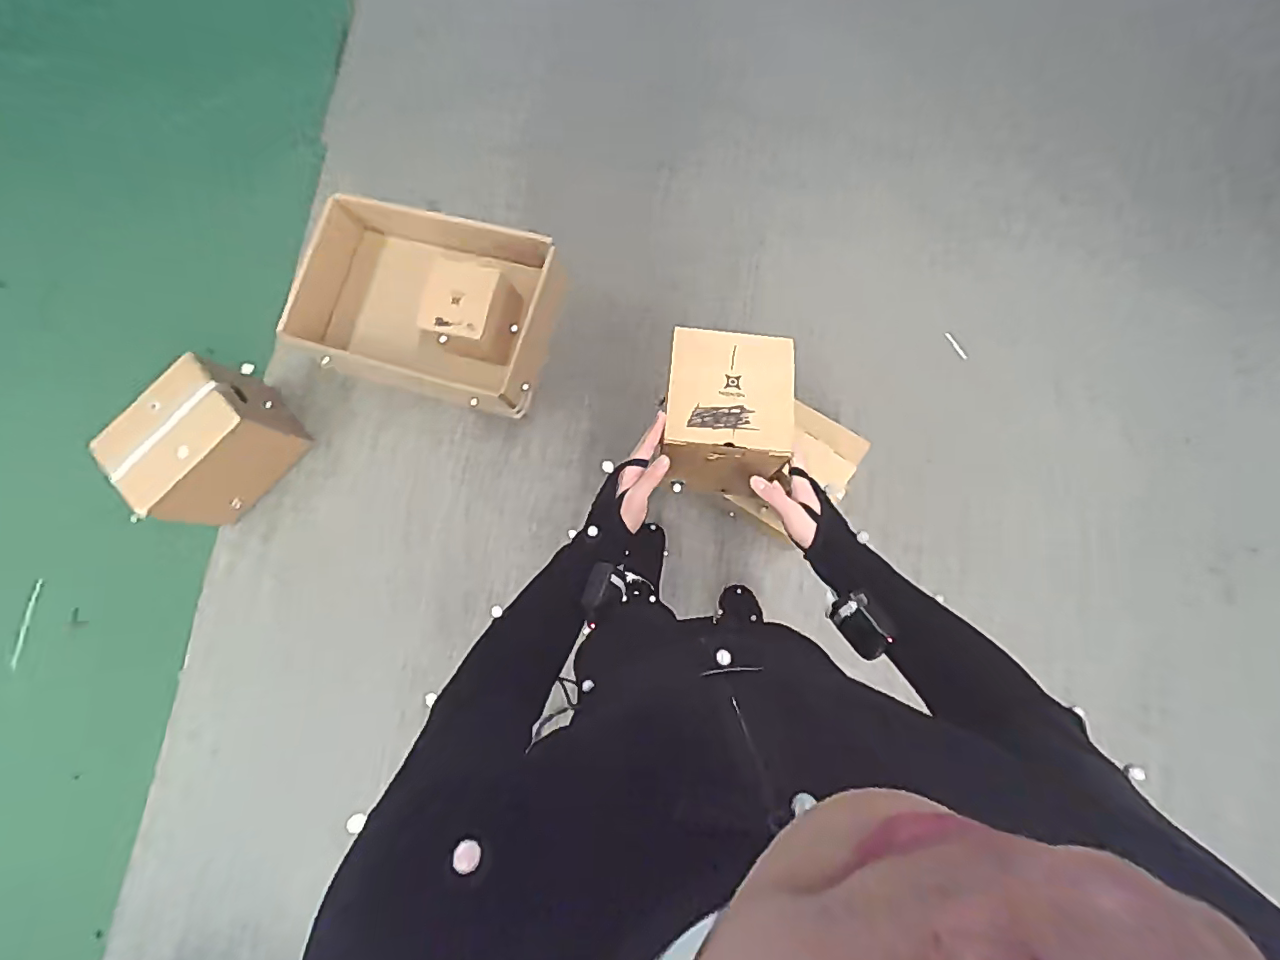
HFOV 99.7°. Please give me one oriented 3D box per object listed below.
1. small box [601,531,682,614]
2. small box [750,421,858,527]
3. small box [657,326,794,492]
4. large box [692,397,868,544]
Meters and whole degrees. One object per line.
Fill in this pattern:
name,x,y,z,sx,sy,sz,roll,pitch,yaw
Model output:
small box,0.010,0.273,1.597,0.168,0.176,0.179,39,86,12
small box,0.365,-0.007,1.253,0.168,0.176,0.179,39,90,11
small box,0.115,-0.092,0.774,0.168,0.176,0.179,6,69,0
large box,0.346,-0.052,1.512,0.408,0.320,0.320,33,86,11
